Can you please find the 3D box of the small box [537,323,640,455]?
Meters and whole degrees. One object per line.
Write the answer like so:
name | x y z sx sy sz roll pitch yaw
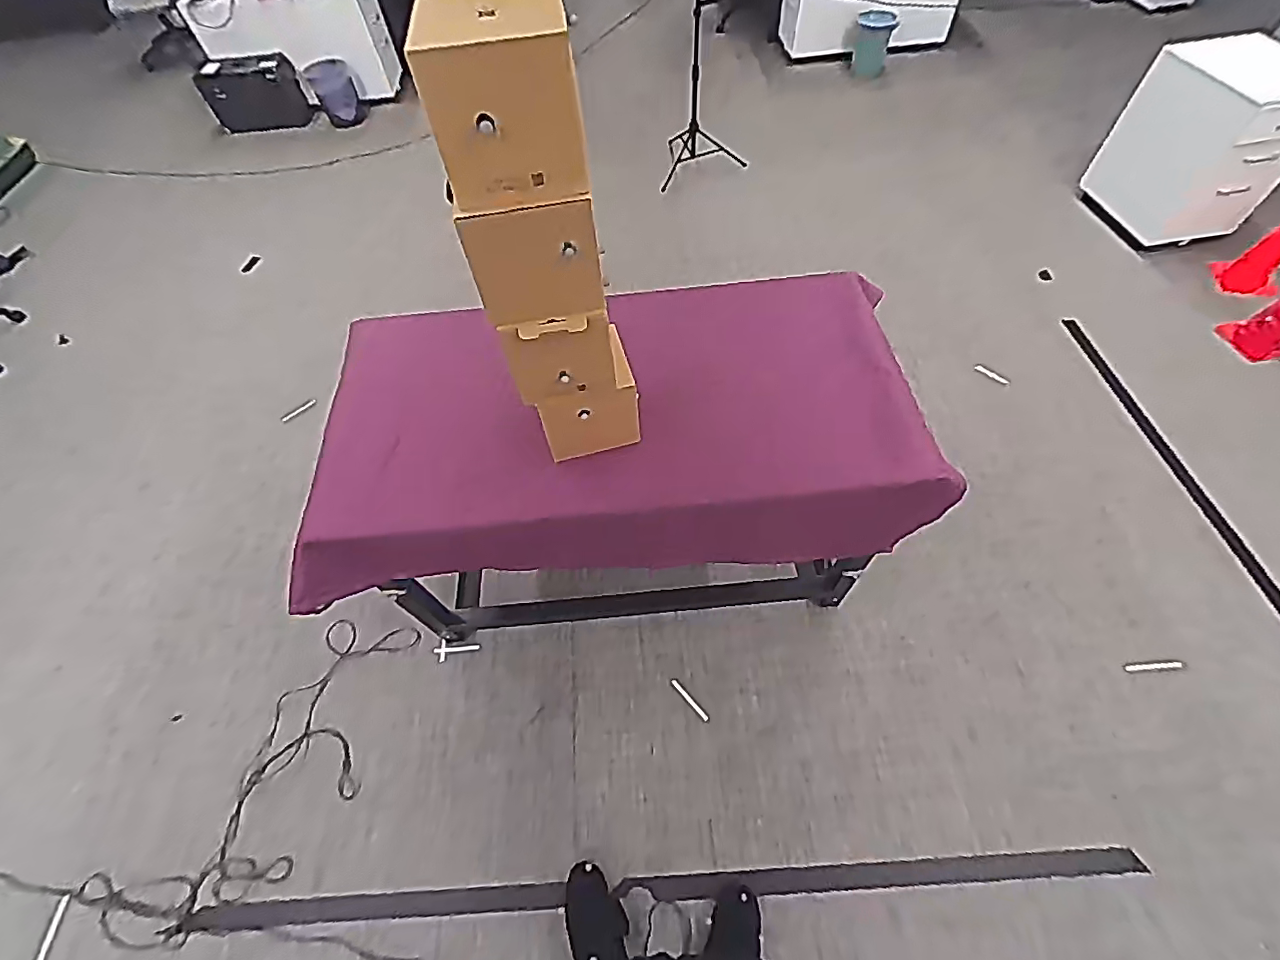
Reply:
small box | -0.104 -0.169 1.038 0.179 0.176 0.168 -14 58 -6

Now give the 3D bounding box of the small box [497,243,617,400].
small box | -0.136 -0.261 0.904 0.168 0.176 0.179 -10 57 -2

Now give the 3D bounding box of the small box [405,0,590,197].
small box | -0.157 -0.459 0.643 0.168 0.176 0.179 -9 56 -2
